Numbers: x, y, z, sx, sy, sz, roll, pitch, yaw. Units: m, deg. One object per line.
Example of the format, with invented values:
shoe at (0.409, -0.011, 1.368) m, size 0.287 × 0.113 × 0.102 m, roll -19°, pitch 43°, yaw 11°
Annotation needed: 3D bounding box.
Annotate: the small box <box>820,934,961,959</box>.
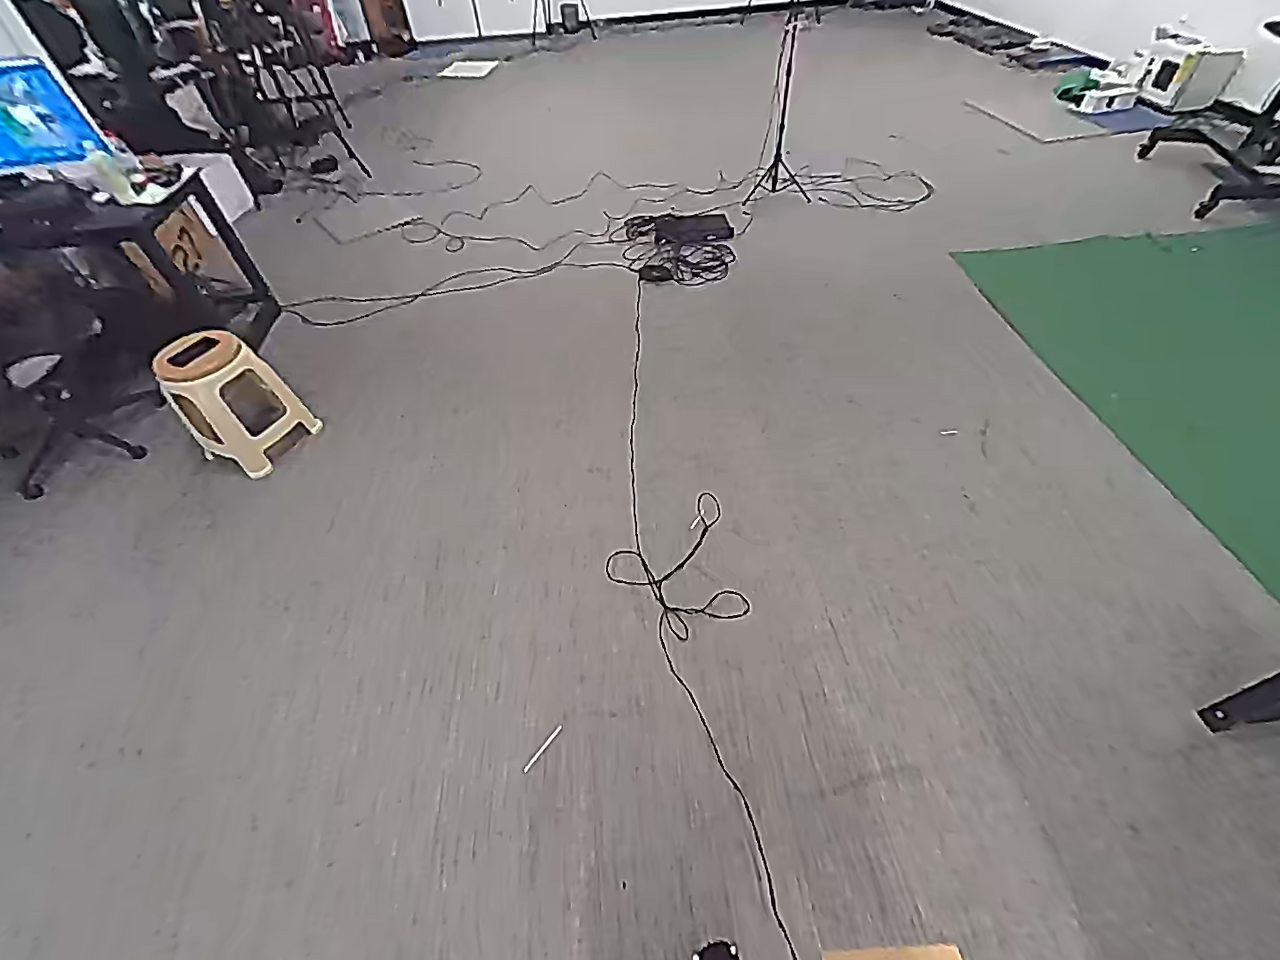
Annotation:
small box at (0.325, 0.678, 0.654) m, size 0.168 × 0.179 × 0.176 m, roll -13°, pitch 33°, yaw 10°
